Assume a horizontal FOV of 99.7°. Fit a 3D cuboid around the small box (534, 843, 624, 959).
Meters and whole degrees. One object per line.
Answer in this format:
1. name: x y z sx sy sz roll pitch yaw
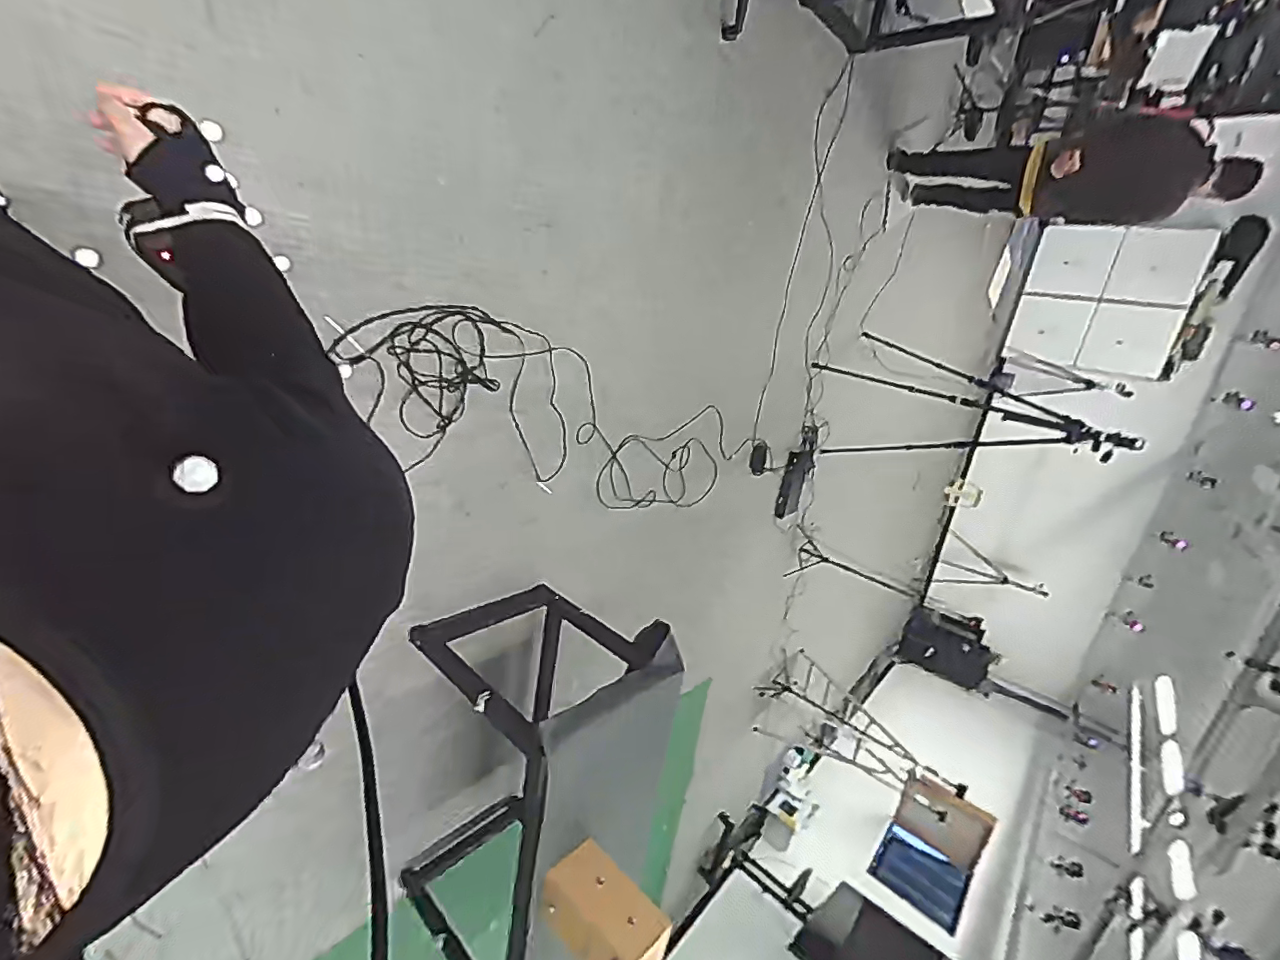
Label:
1. small box: -0.178 1.214 1.573 0.179 0.176 0.168 -4 111 -51
